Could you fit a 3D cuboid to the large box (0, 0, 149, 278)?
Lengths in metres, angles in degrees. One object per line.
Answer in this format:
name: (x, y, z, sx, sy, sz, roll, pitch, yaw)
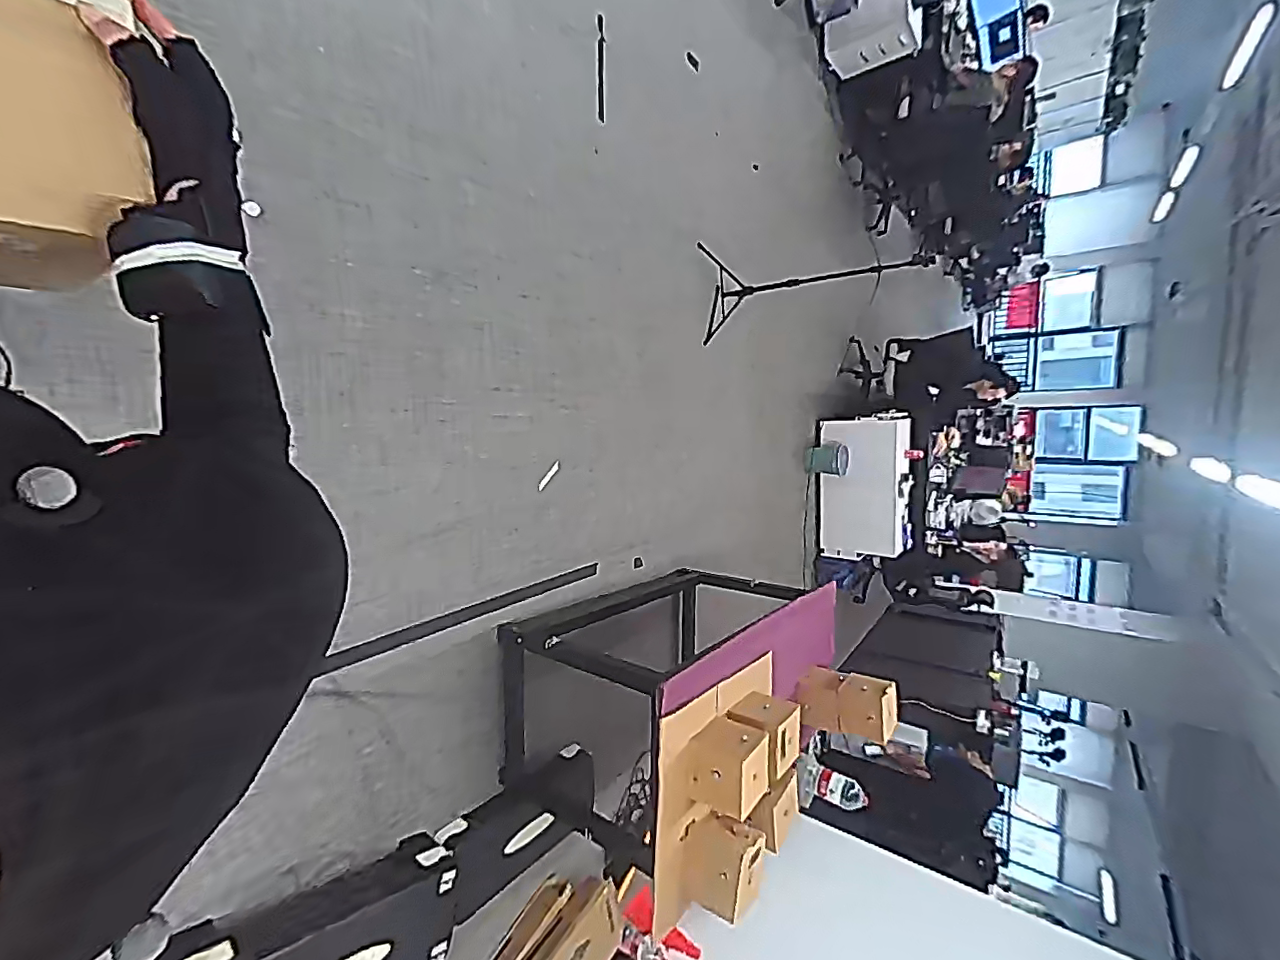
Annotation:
large box: (-0.618, -0.325, 0.317, 0.408, 0.320, 0.320, -13, 107, -55)
